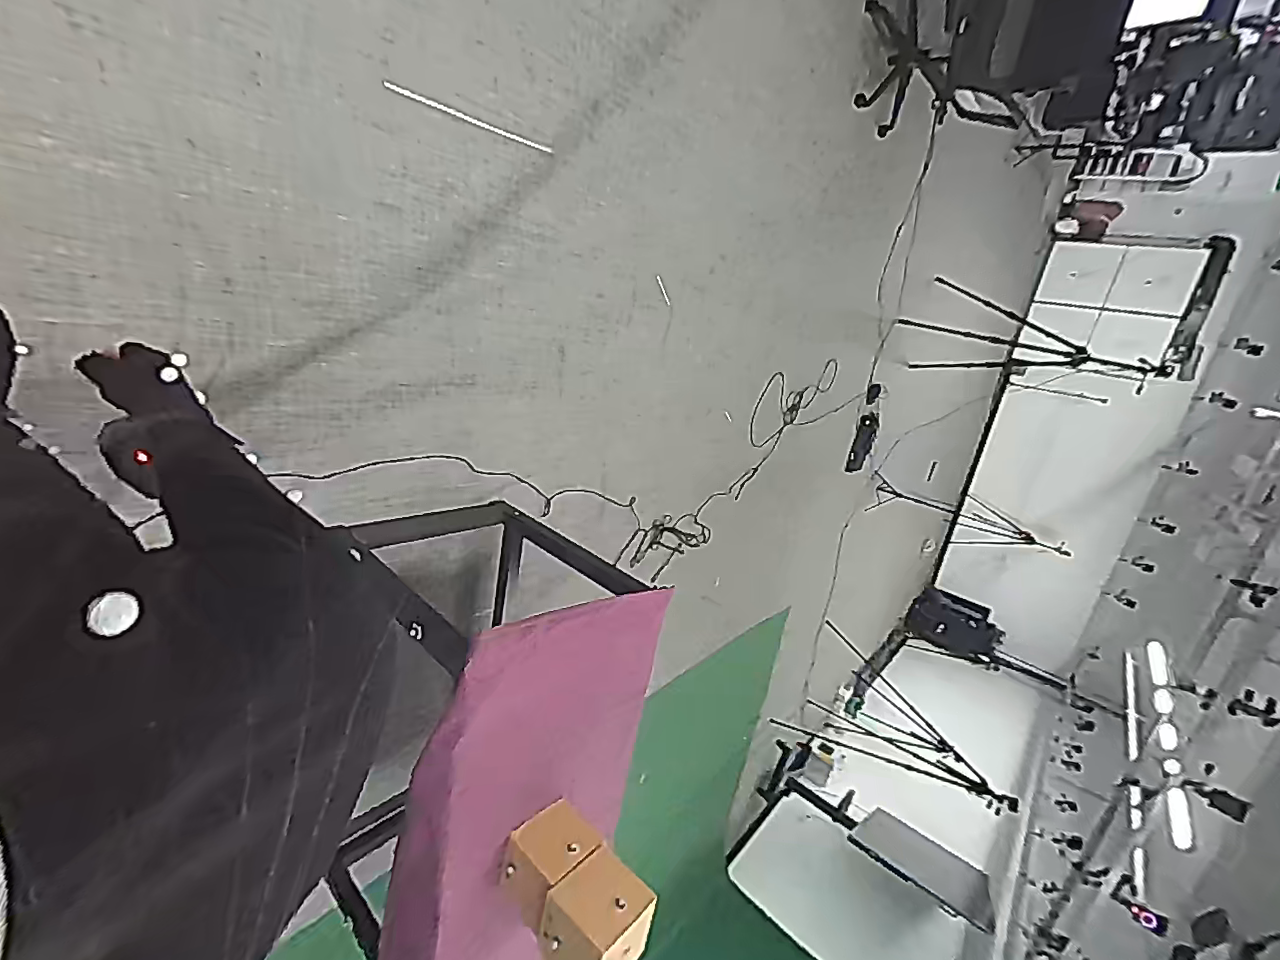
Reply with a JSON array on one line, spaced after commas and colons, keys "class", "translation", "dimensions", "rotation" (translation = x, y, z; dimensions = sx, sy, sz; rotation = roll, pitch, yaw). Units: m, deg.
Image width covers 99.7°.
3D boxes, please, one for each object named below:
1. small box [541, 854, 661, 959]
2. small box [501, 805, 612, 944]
[{"class": "small box", "translation": [-0.085, 0.963, 1.163], "dimensions": [0.179, 0.176, 0.168], "rotation": [-5, 111, -50]}, {"class": "small box", "translation": [-0.198, 0.918, 1.275], "dimensions": [0.179, 0.176, 0.168], "rotation": [-3, 109, -50]}]
